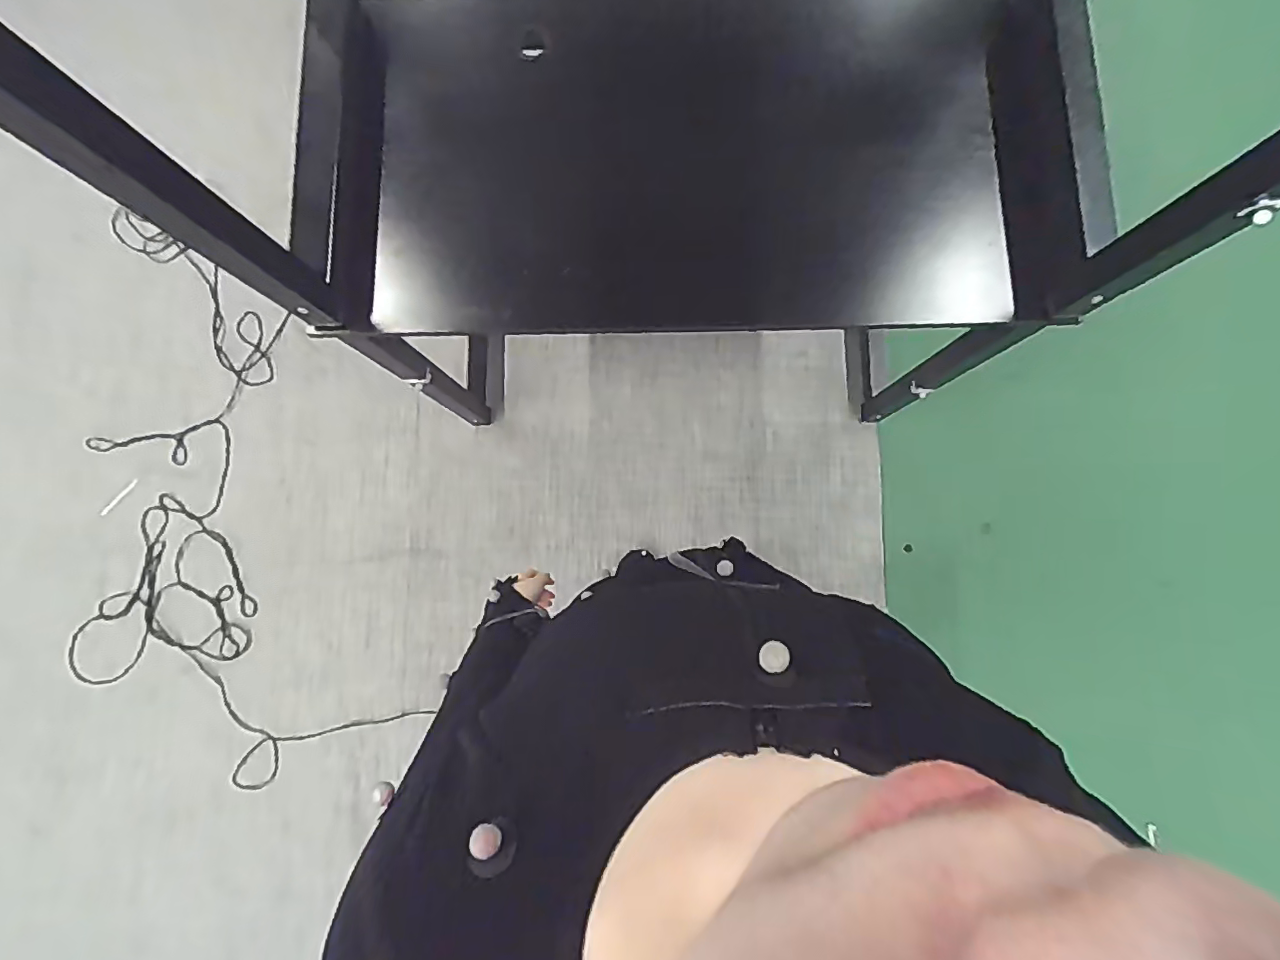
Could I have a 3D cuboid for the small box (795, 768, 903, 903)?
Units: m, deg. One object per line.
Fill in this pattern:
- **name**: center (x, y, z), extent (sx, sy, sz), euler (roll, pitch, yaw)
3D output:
- **small box**: center (0.446, 0.760, 1.179), extent (0.168, 0.176, 0.179), euler (11, 85, 4)
